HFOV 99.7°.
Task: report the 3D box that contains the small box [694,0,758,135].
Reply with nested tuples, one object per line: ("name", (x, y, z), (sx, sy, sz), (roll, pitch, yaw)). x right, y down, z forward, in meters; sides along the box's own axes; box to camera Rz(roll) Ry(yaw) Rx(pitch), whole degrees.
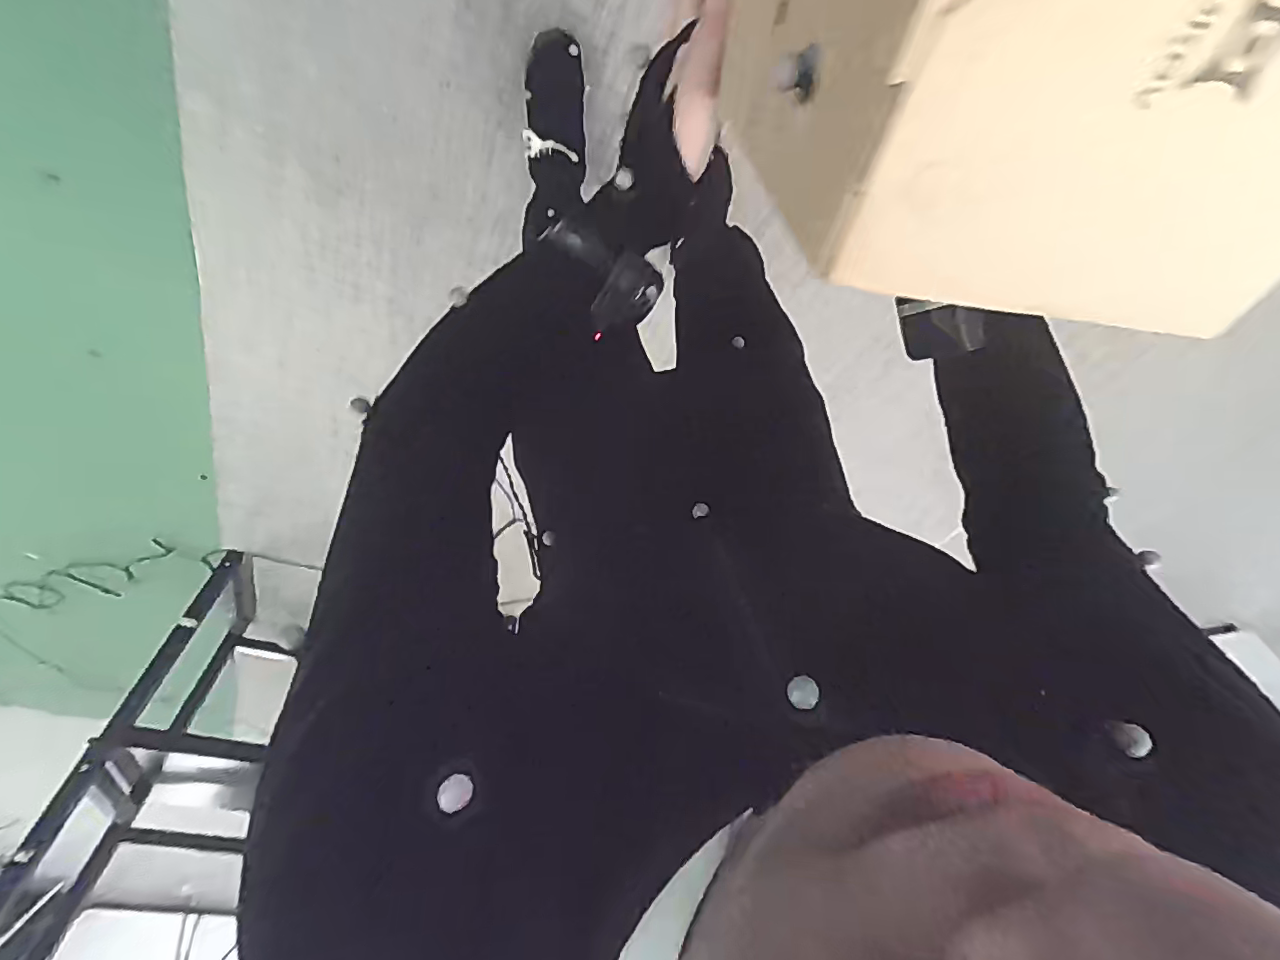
("small box", (0.138, -0.305, 0.306), (0.179, 0.176, 0.168), (2, 138, -7))

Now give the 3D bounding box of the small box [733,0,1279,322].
("small box", (0.144, -0.182, 0.198), (0.179, 0.176, 0.168), (3, 138, -8))
